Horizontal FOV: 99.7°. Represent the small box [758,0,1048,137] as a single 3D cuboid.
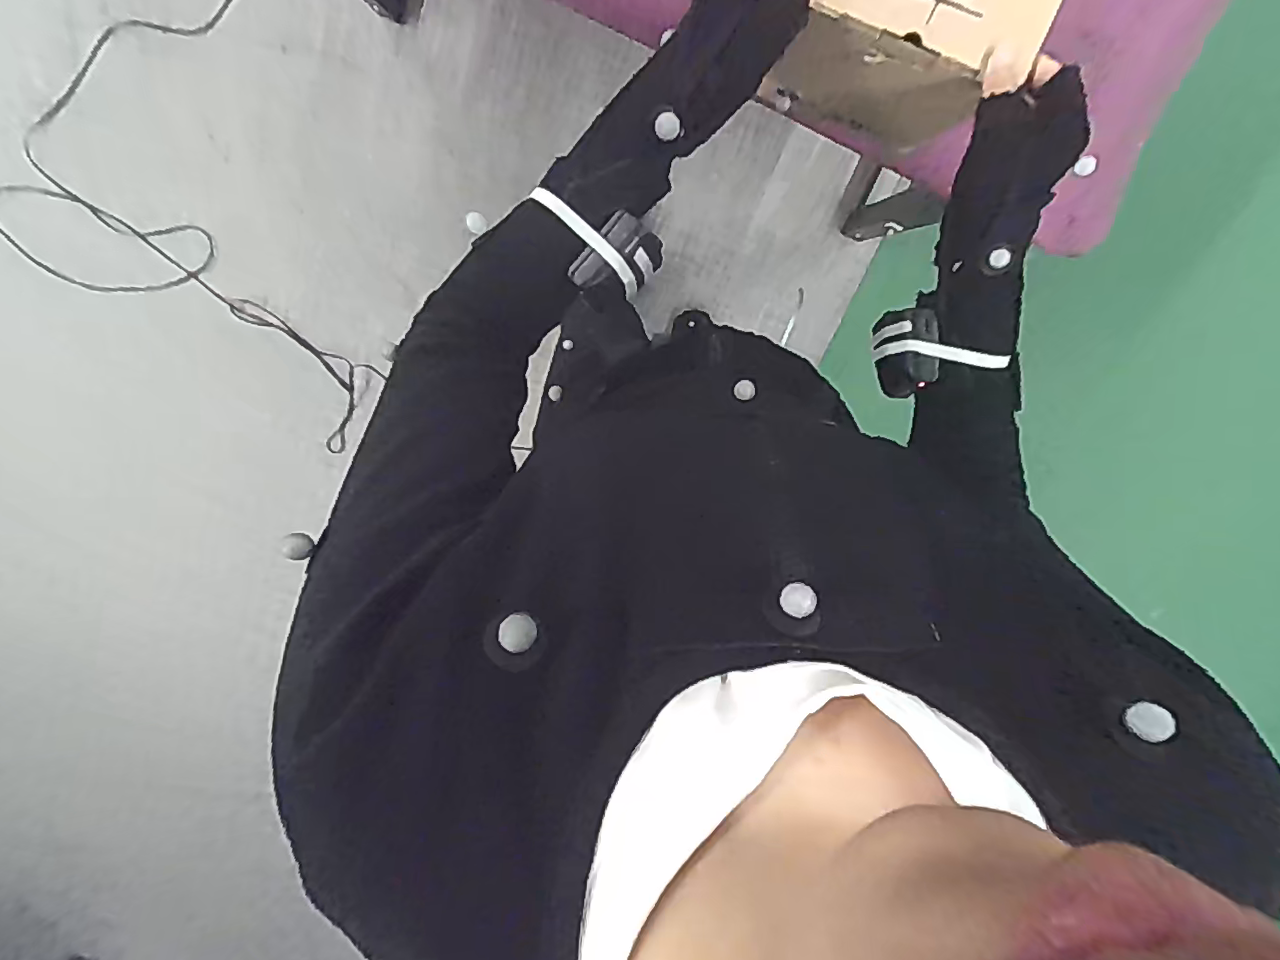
[{"bbox_3d":[0.203,-0.398,0.411,0.168,0.176,0.179,17,107,-6],"label":"small box"}]
